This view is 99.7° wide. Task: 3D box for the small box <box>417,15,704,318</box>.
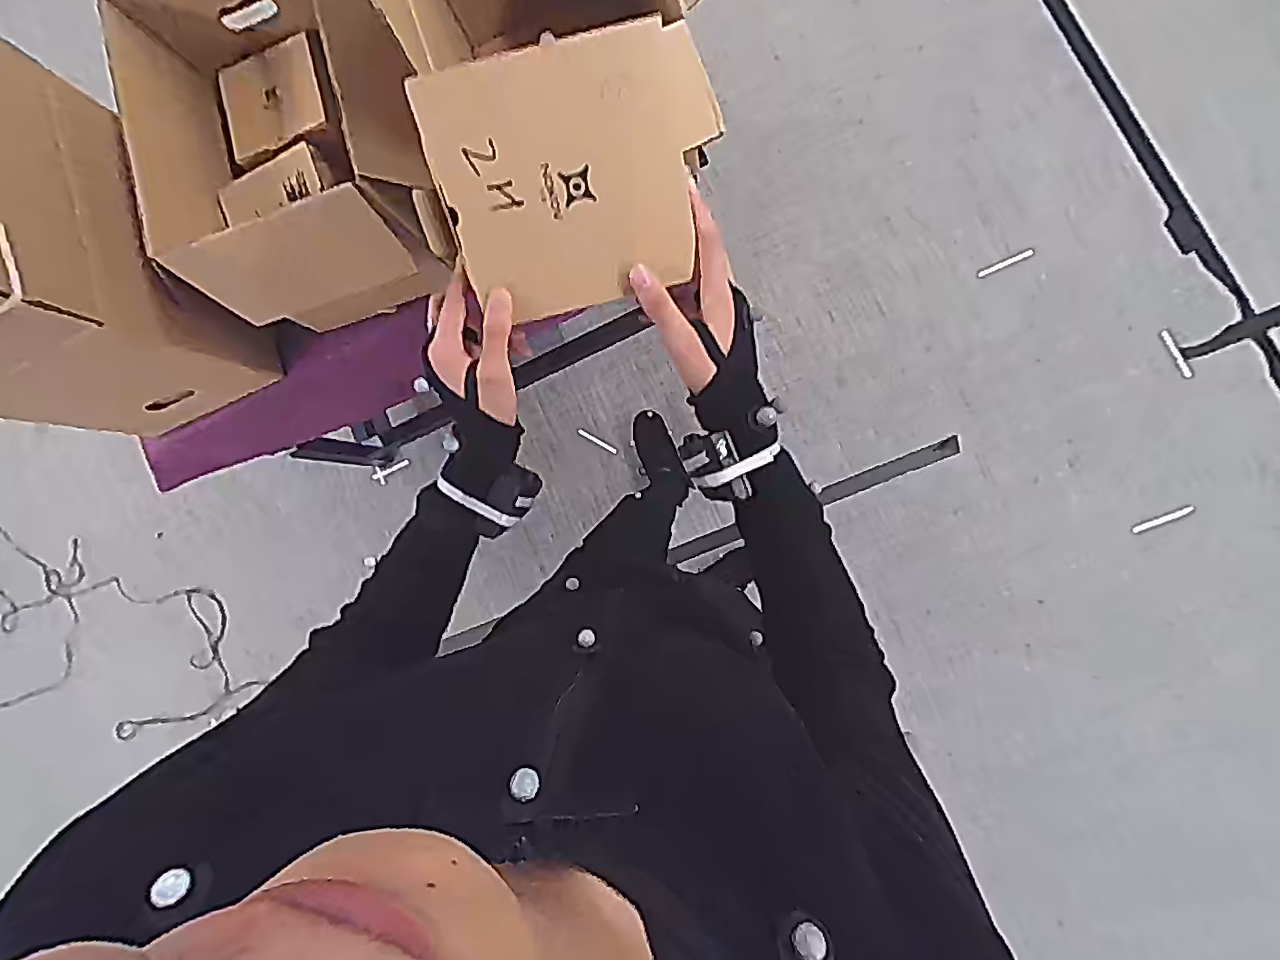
[{"bbox_3d":[-0.055,-0.253,0.463,0.179,0.176,0.168,-12,116,3],"label":"small box"}]
